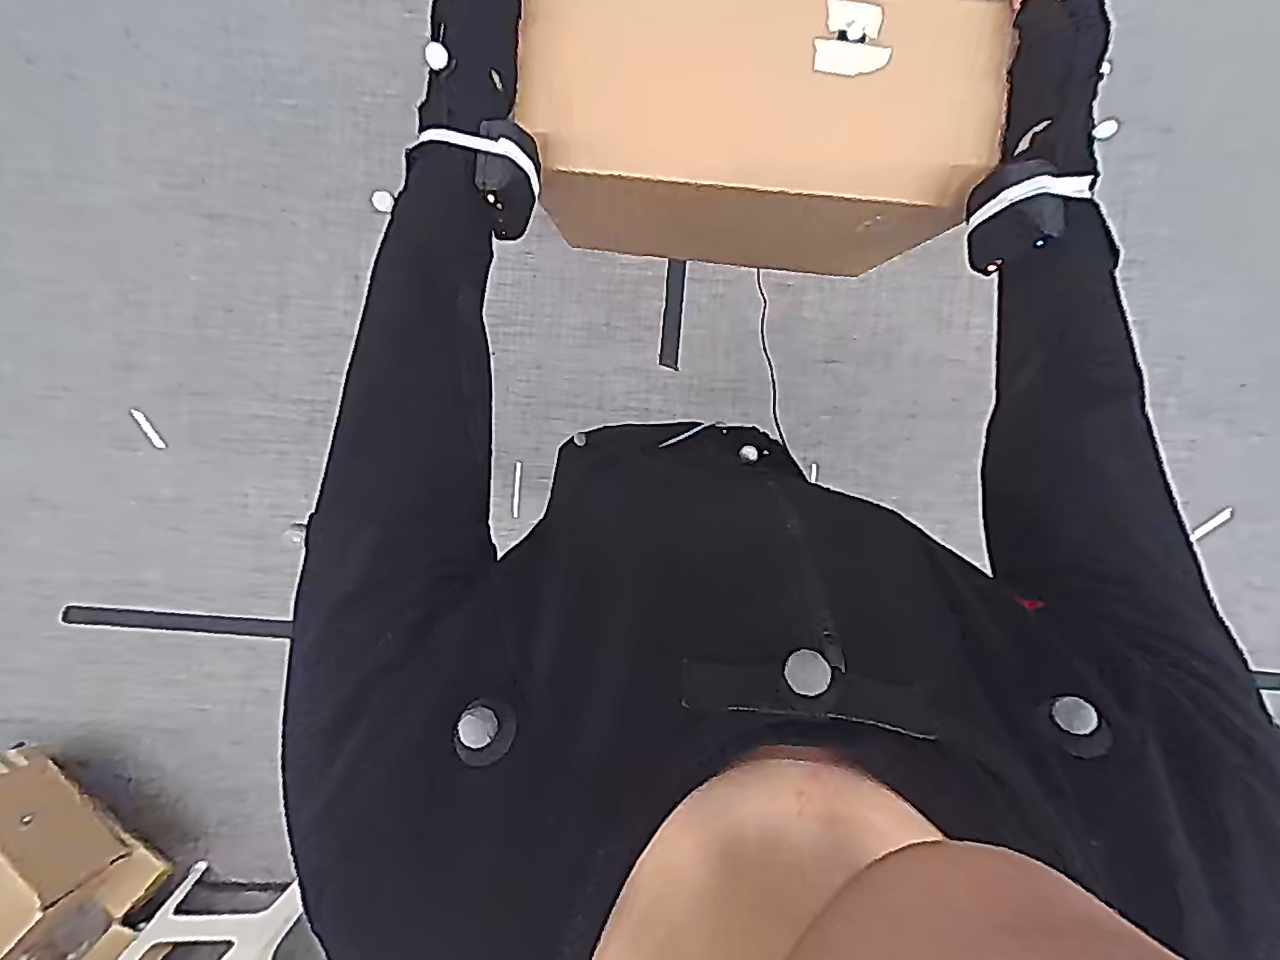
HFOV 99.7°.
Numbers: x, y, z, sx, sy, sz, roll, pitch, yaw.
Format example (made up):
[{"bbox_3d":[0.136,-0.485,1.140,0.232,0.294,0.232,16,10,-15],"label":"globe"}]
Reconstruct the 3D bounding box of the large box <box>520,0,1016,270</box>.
[{"bbox_3d":[0.107,-0.430,0.581,0.408,0.320,0.320,6,102,0],"label":"large box"}]
